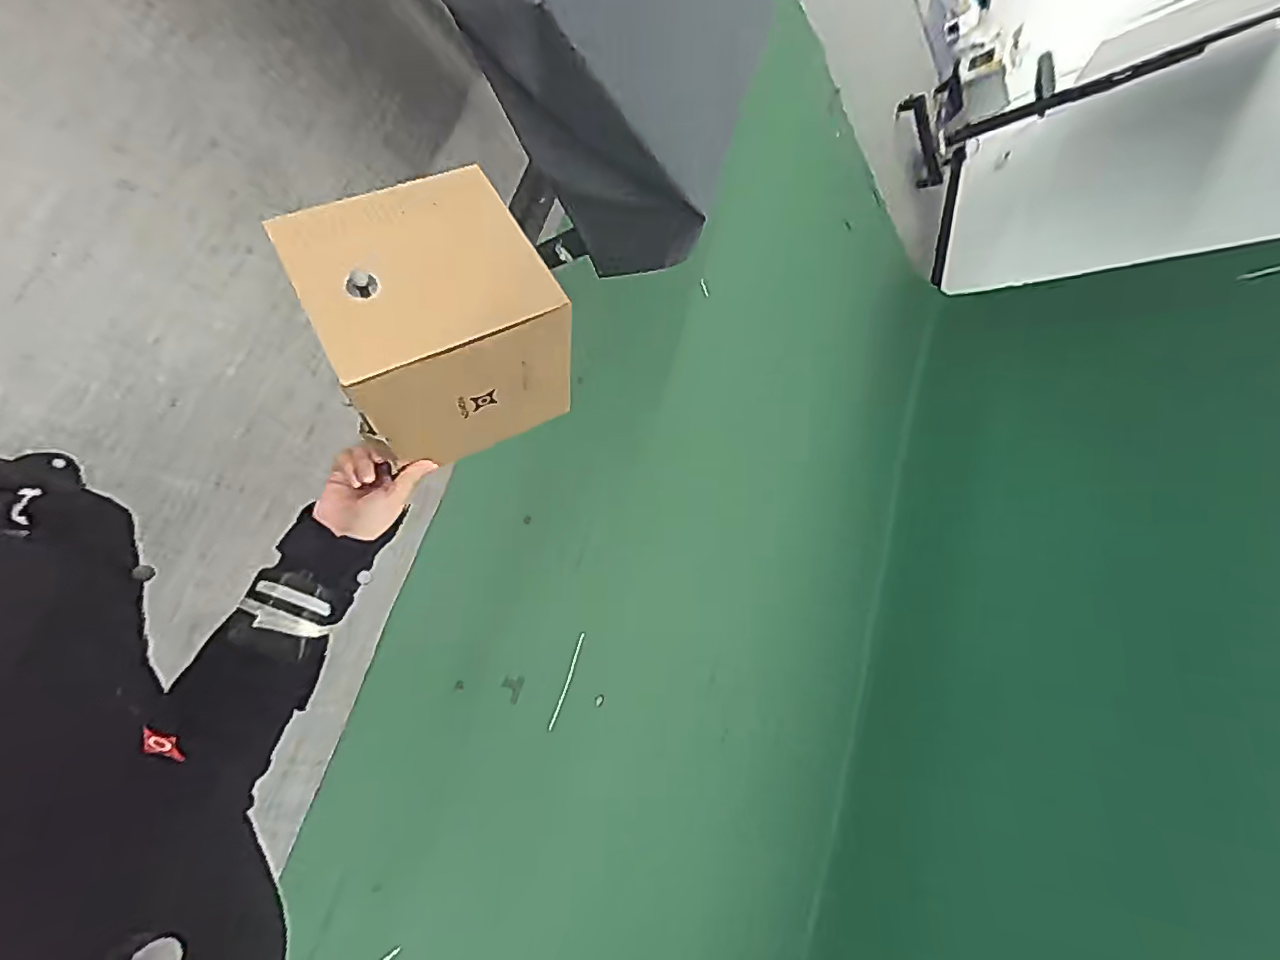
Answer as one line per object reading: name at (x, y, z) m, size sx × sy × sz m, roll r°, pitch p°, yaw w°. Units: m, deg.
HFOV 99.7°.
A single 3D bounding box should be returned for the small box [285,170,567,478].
small box at (-0.182, -0.136, 0.483) m, size 0.179 × 0.168 × 0.176 m, roll -28°, pitch 74°, yaw -18°
